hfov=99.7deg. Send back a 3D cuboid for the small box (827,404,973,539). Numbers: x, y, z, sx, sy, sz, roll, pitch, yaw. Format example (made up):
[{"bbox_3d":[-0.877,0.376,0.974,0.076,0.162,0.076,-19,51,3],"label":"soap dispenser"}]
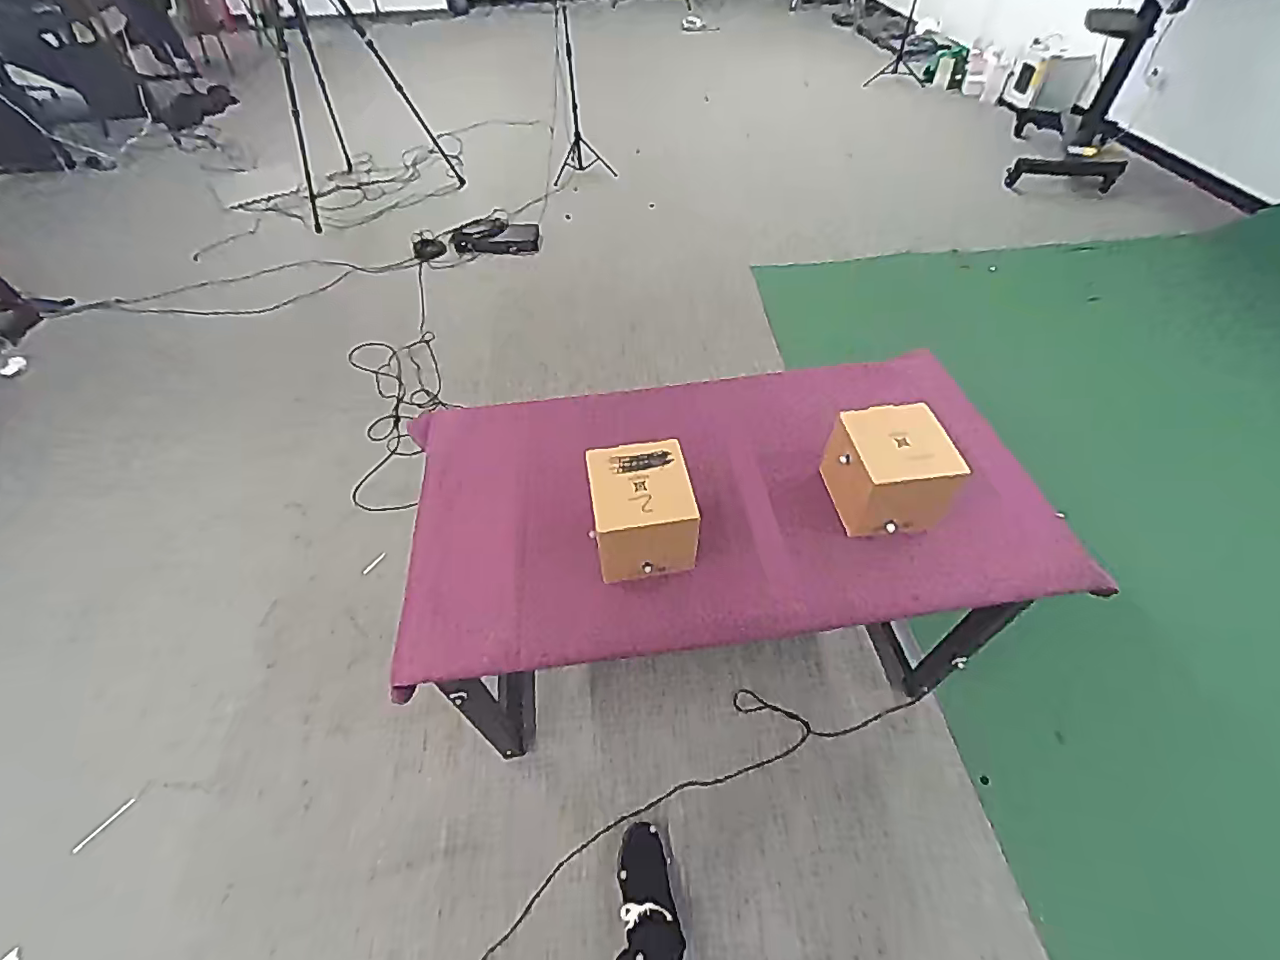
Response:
[{"bbox_3d":[0.458,-0.015,0.990,0.168,0.176,0.179,-6,50,0],"label":"small box"}]
